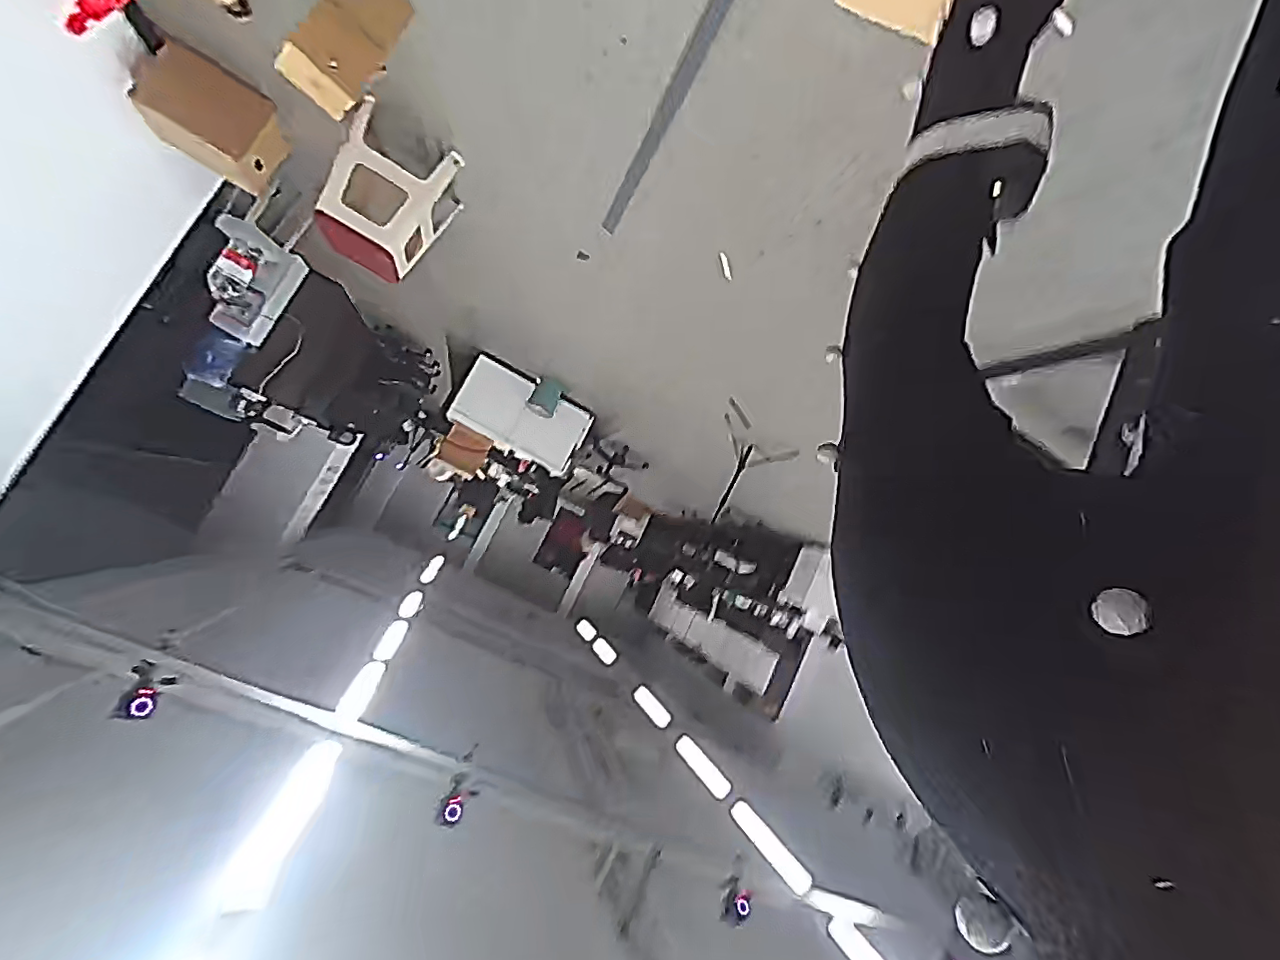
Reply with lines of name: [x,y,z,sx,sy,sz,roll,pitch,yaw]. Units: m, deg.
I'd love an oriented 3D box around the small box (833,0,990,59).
small box: [0.370,-0.675,0.648,0.179,0.176,0.168,25,172,-1]
